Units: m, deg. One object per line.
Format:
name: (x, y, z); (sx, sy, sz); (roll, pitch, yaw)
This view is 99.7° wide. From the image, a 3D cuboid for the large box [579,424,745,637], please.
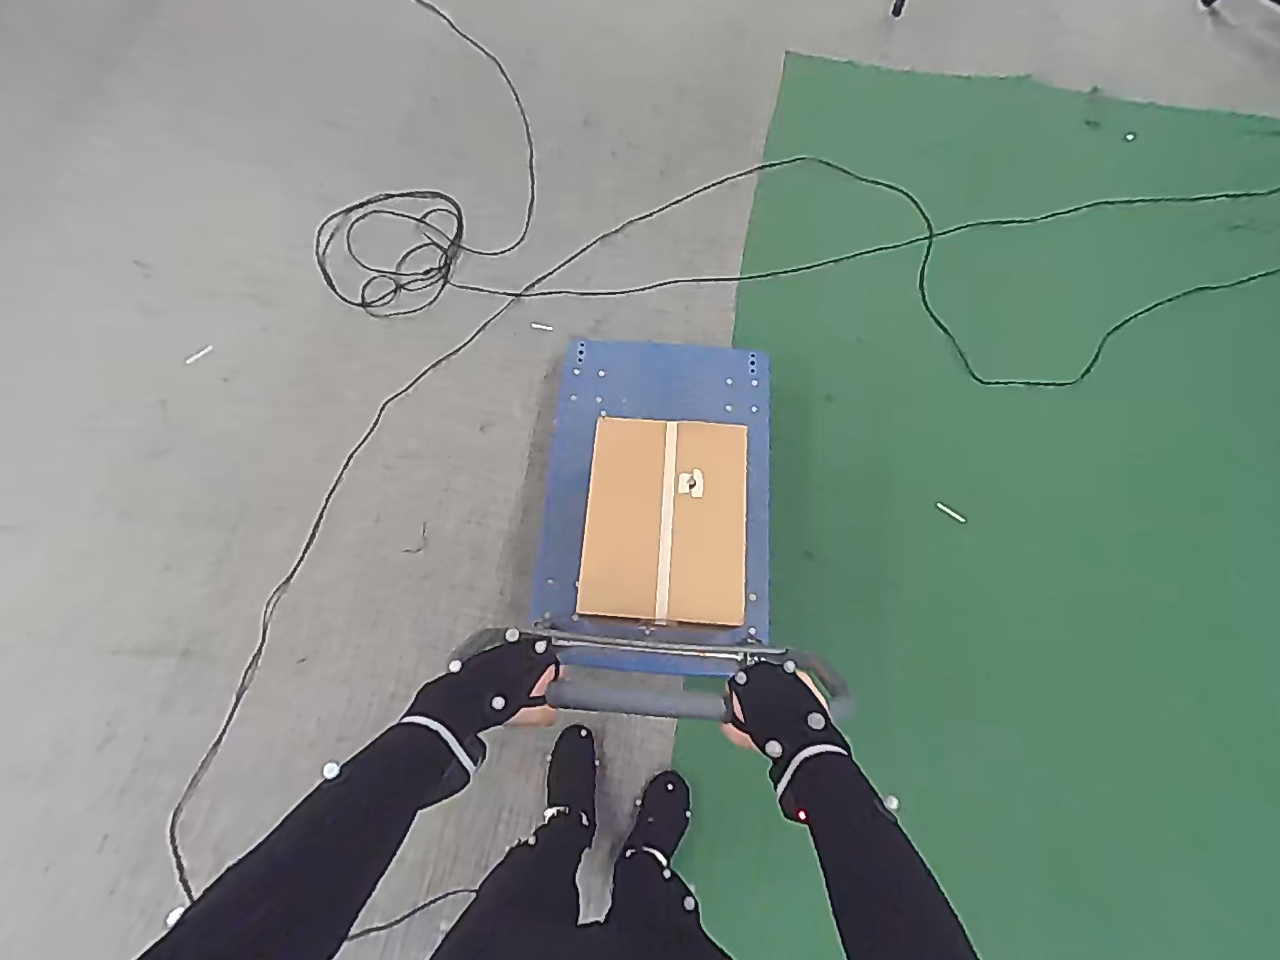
large box: (0.053, 0.128, 1.203); (0.320, 0.320, 0.408); (4, 71, 1)
